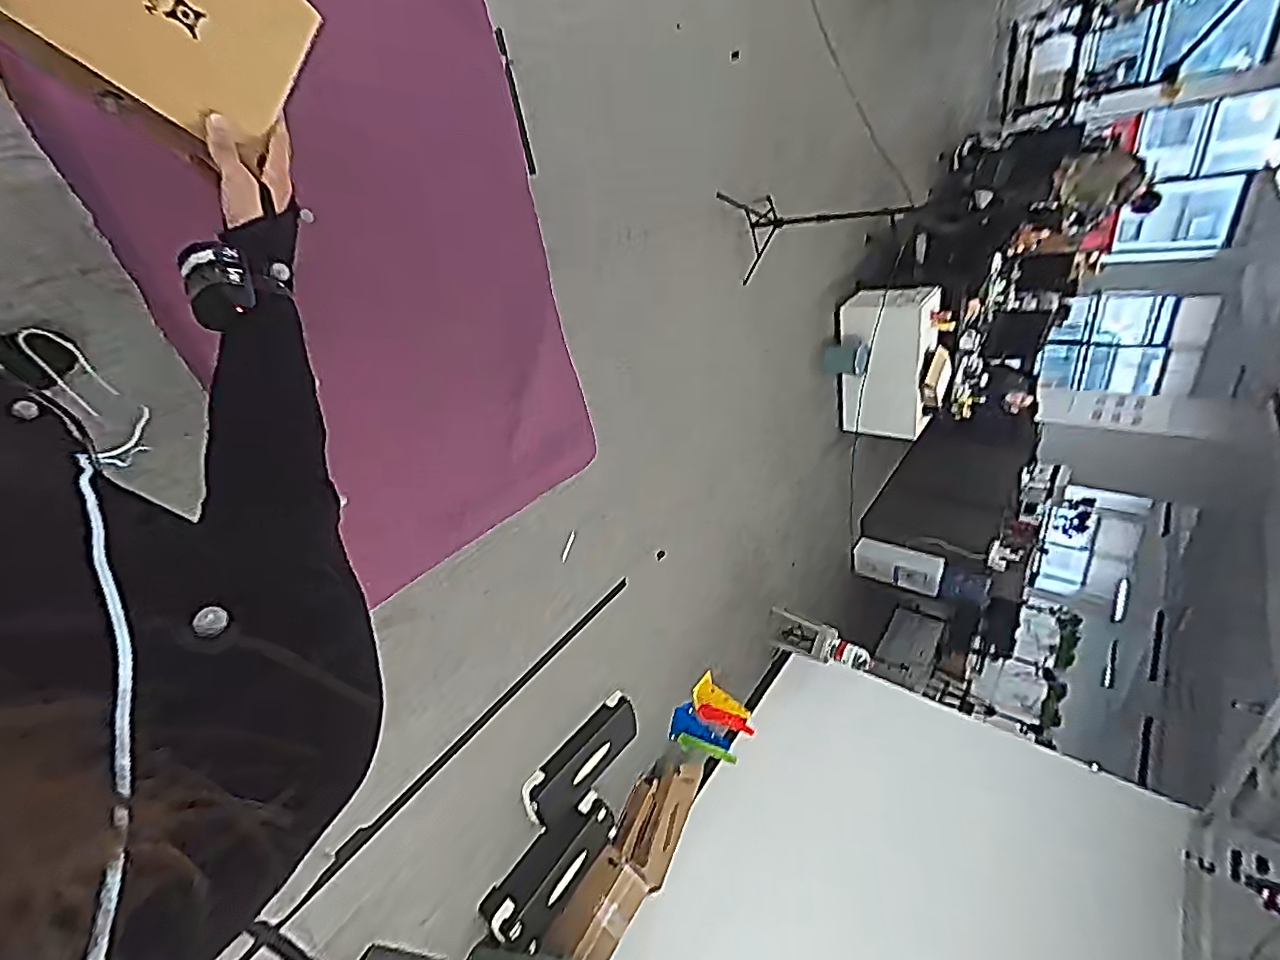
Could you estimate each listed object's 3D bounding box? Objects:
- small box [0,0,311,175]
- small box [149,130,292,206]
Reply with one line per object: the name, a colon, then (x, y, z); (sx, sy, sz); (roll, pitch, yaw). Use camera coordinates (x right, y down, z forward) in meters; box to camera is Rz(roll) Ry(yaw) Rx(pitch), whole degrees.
small box: (-0.444, -0.408, 0.476); (0.179, 0.176, 0.168); (20, 94, -60)
small box: (-0.860, -0.671, 1.091); (0.168, 0.176, 0.179); (-42, 133, -35)
